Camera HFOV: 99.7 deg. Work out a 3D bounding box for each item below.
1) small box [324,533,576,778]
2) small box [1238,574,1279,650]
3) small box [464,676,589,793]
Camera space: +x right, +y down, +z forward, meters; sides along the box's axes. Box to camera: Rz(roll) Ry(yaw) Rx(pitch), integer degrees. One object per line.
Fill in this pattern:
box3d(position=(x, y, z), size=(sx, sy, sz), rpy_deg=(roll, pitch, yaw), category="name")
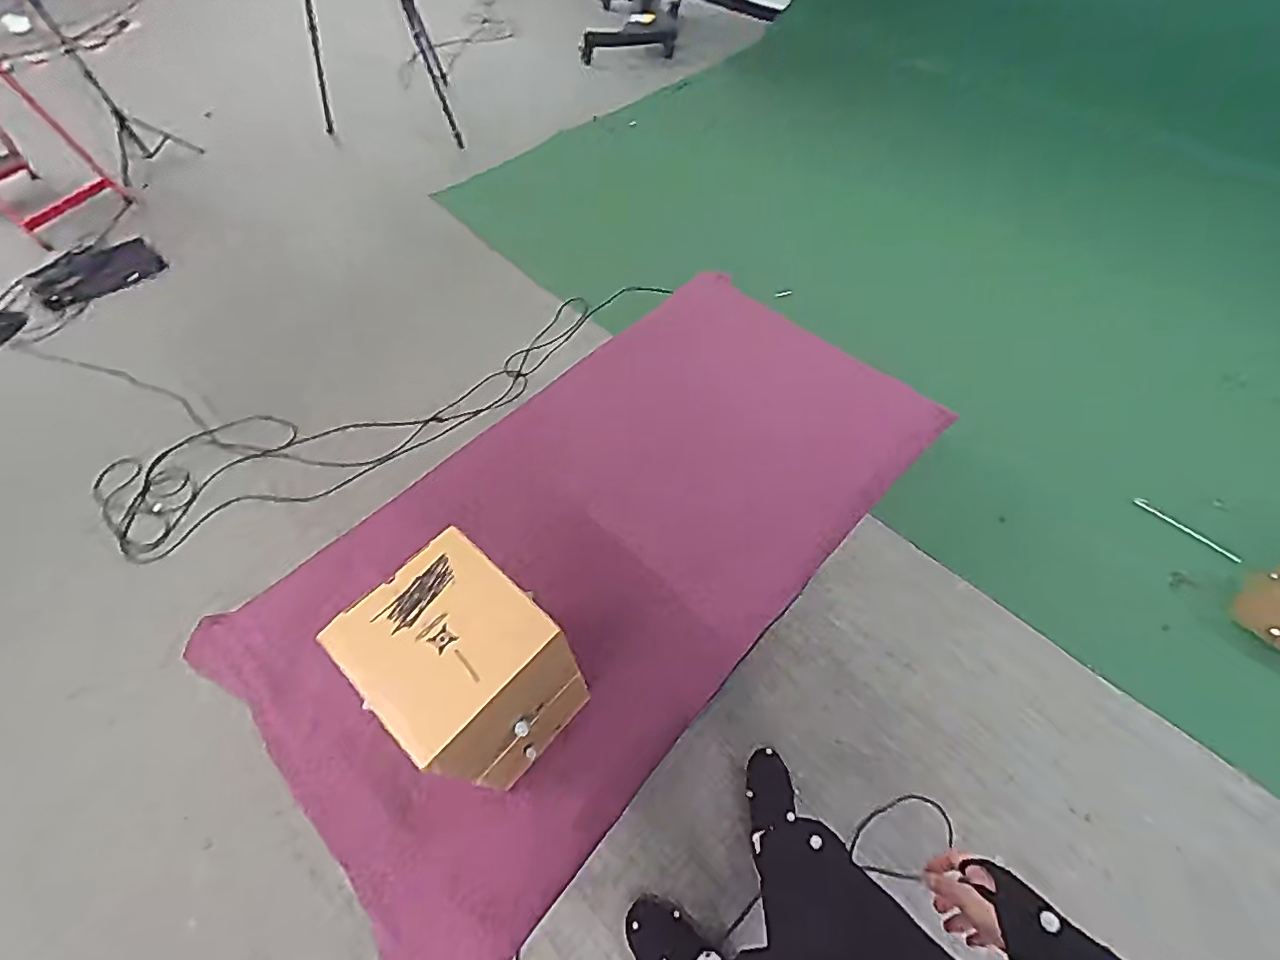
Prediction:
box3d(position=(-0.190, 0.197, 0.589), size=(0.179, 0.176, 0.168), rpy_deg=(38, 66, 22), category="small box")
box3d(position=(1.837, 0.364, 1.496), size=(0.179, 0.176, 0.168), rpy_deg=(-39, 64, -21), category="small box")
box3d(position=(-0.187, 0.288, 0.726), size=(0.179, 0.176, 0.168), rpy_deg=(37, 65, 23), category="small box")
